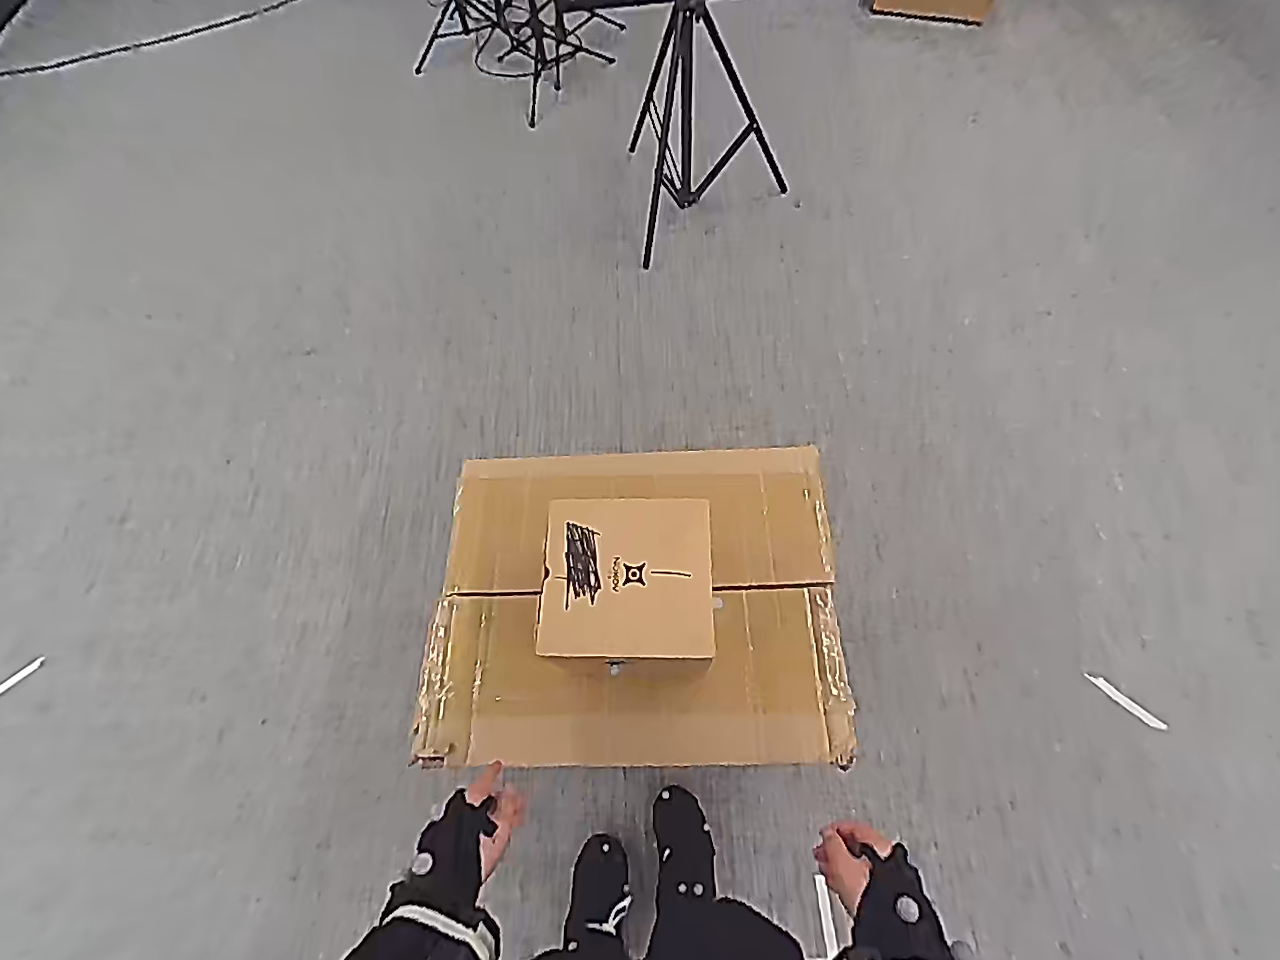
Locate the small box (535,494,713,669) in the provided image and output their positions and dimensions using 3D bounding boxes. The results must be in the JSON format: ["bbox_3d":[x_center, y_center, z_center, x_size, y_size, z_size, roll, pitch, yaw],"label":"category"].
[{"bbox_3d":[-0.009,0.124,0.624,0.179,0.176,0.168,-1,65,4],"label":"small box"}]
